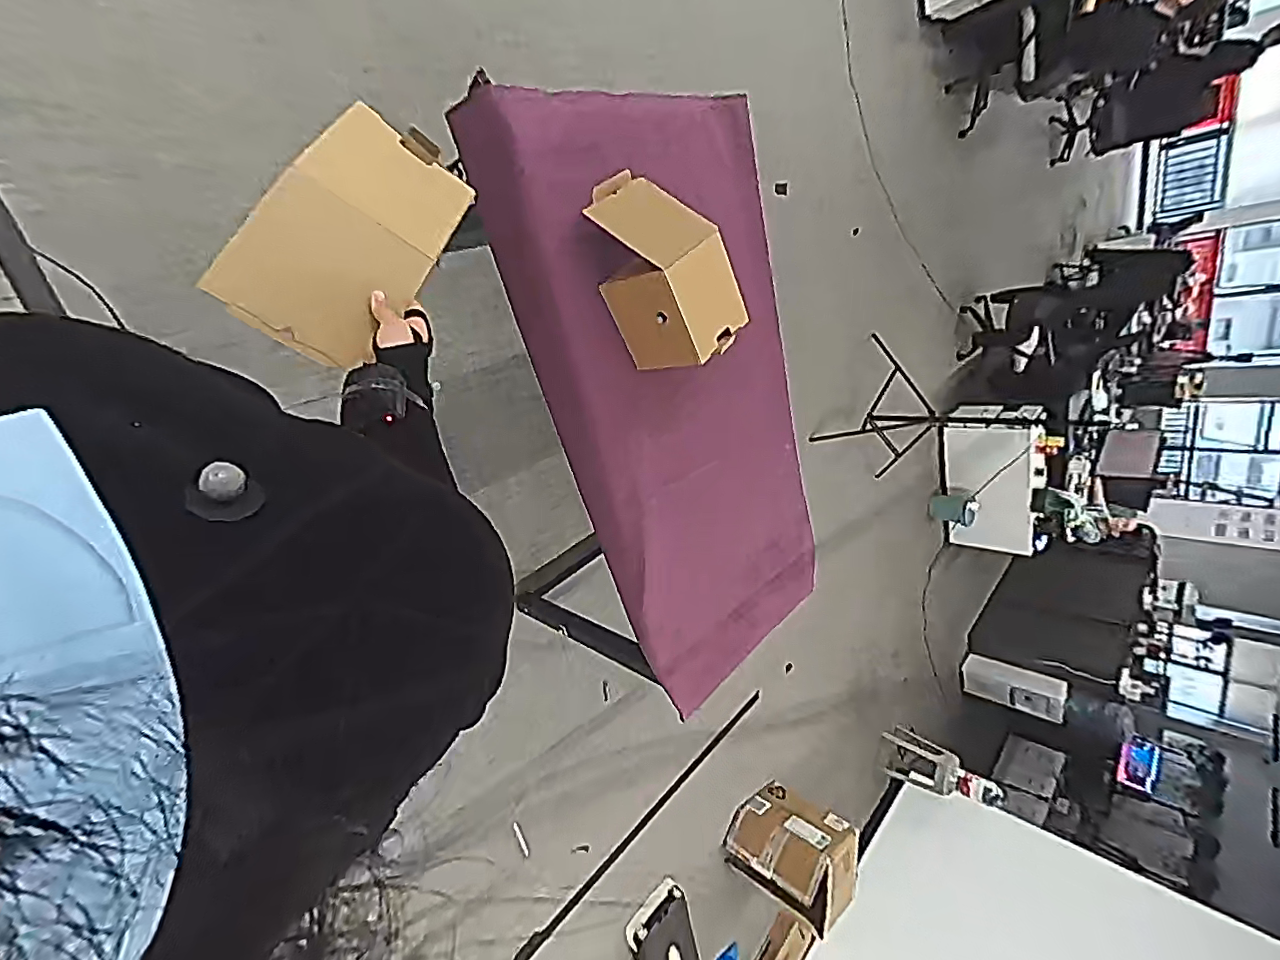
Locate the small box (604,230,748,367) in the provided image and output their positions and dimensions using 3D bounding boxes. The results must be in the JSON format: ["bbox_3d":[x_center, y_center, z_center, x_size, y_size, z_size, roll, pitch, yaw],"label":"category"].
[{"bbox_3d":[0.064,-0.320,0.983,0.168,0.176,0.179,-45,124,-29],"label":"small box"}]
